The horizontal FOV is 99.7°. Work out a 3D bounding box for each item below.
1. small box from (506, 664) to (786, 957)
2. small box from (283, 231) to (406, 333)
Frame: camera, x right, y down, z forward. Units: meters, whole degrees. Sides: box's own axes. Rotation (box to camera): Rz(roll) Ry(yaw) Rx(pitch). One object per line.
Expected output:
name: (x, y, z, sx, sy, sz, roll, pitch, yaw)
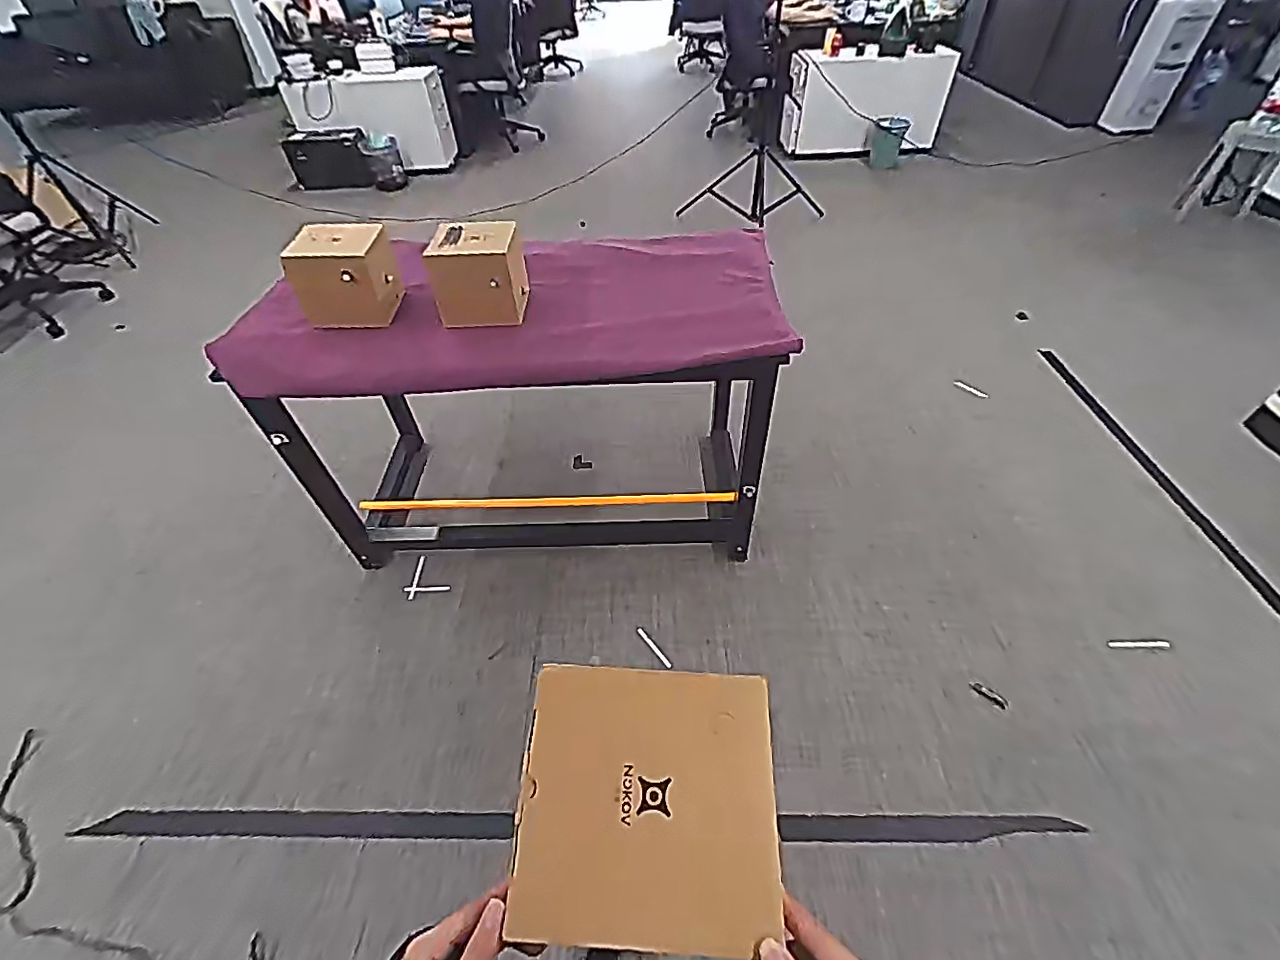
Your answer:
small box: (0.010, 0.258, 0.441, 0.179, 0.176, 0.168, 2, 58, 3)
small box: (-0.660, -0.450, 1.237, 0.179, 0.176, 0.168, -2, 46, -2)
